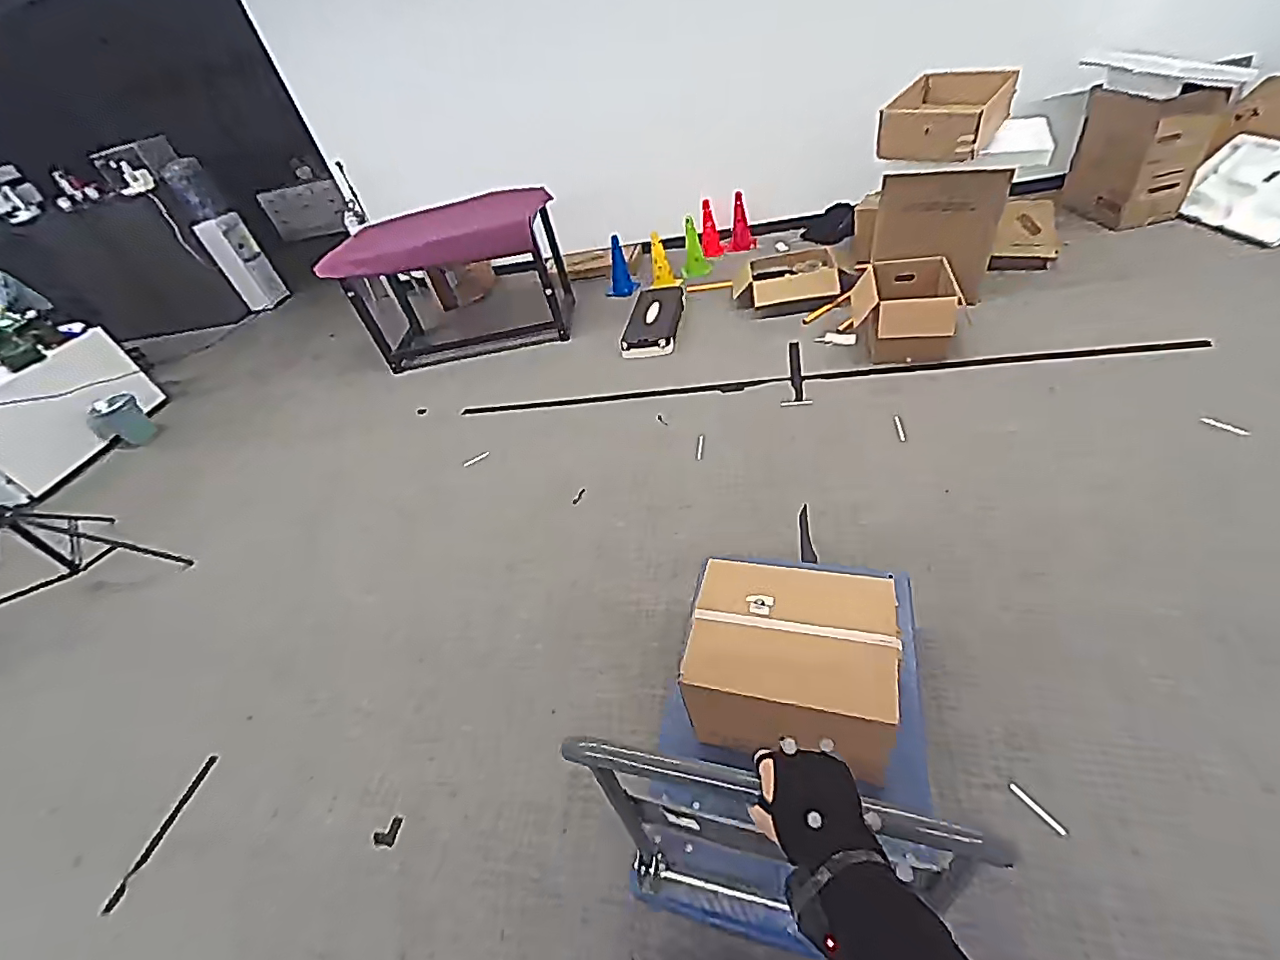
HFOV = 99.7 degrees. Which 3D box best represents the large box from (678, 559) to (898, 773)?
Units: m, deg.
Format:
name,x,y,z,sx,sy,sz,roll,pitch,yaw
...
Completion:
name,x,y,z,sx,sy,sz,roll,pitch,yaw
large box,0.334,0.403,1.199,0.408,0.320,0.320,2,44,21
